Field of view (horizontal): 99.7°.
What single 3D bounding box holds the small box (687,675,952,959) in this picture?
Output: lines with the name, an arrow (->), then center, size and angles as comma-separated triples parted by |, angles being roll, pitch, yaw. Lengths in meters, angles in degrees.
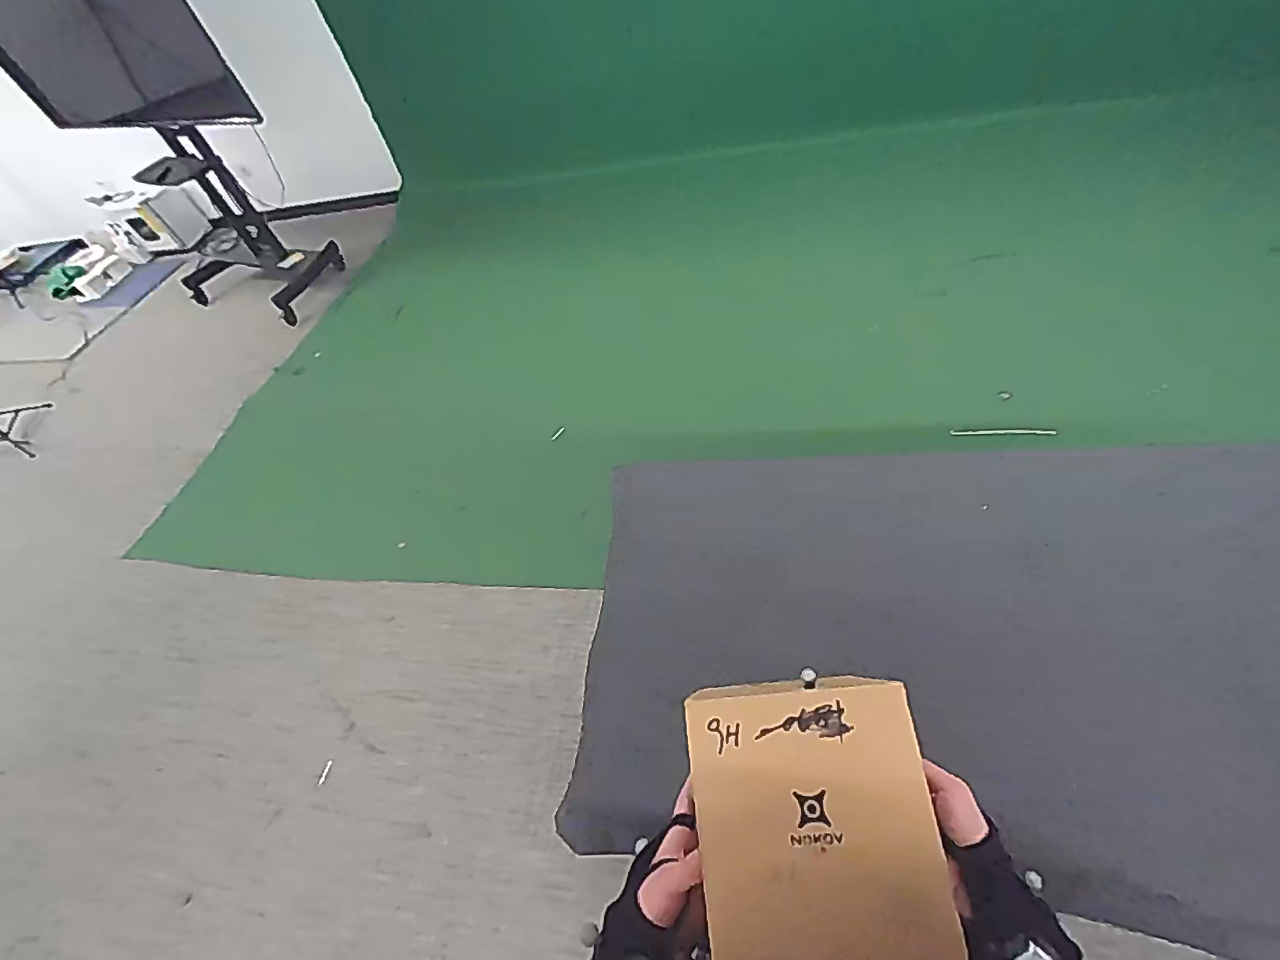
small box -> 0.136, 0.273, 0.470 | 0.168, 0.176, 0.179 | -7, 72, 7
